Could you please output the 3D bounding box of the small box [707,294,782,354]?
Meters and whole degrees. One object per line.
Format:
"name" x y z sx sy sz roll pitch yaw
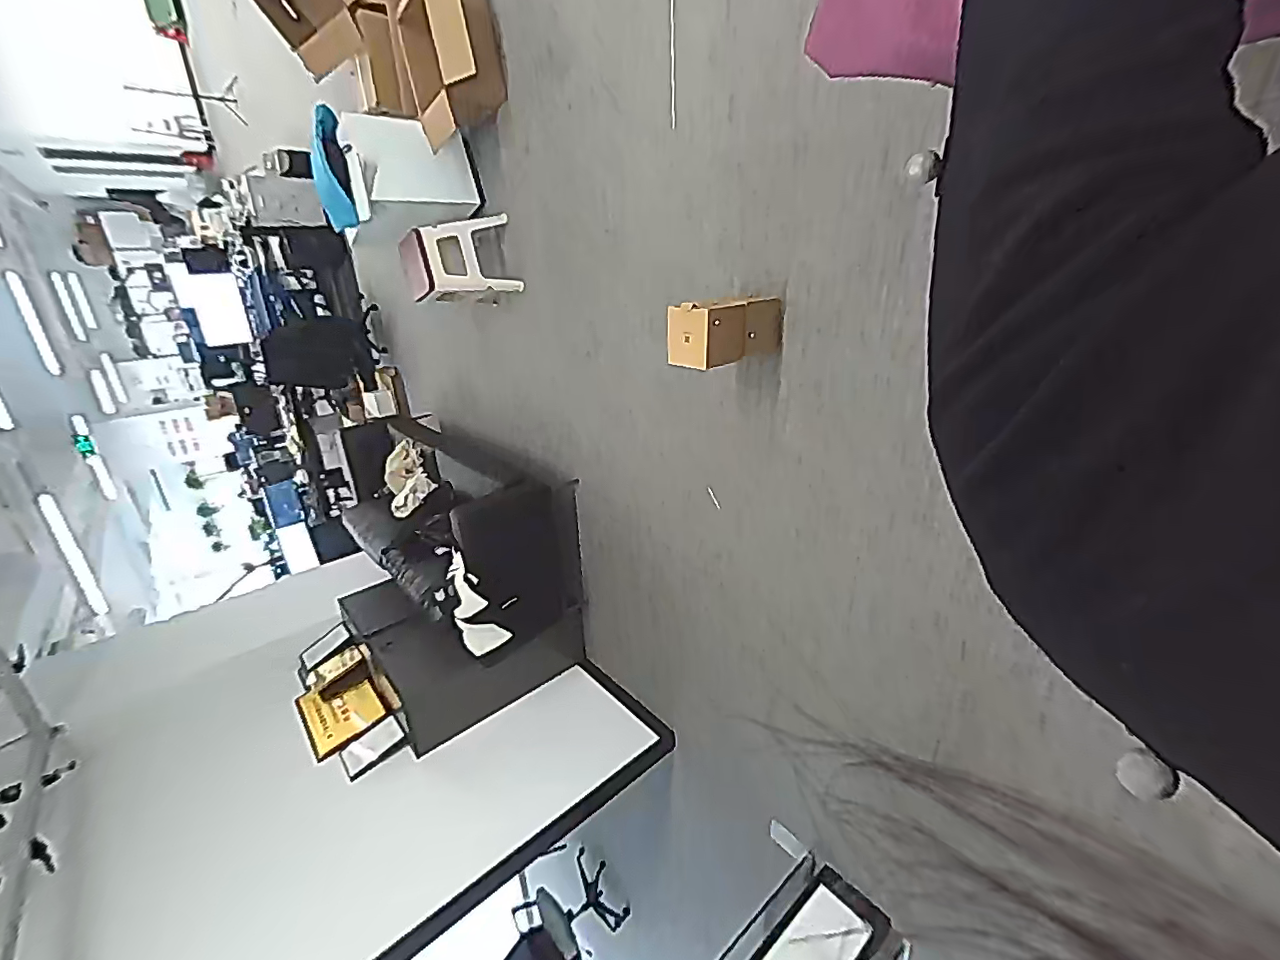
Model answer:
"small box" 0.332 -0.507 1.740 0.179 0.176 0.168 23 123 45

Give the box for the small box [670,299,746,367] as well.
"small box" 0.207 -0.452 1.650 0.168 0.176 0.179 22 122 45
